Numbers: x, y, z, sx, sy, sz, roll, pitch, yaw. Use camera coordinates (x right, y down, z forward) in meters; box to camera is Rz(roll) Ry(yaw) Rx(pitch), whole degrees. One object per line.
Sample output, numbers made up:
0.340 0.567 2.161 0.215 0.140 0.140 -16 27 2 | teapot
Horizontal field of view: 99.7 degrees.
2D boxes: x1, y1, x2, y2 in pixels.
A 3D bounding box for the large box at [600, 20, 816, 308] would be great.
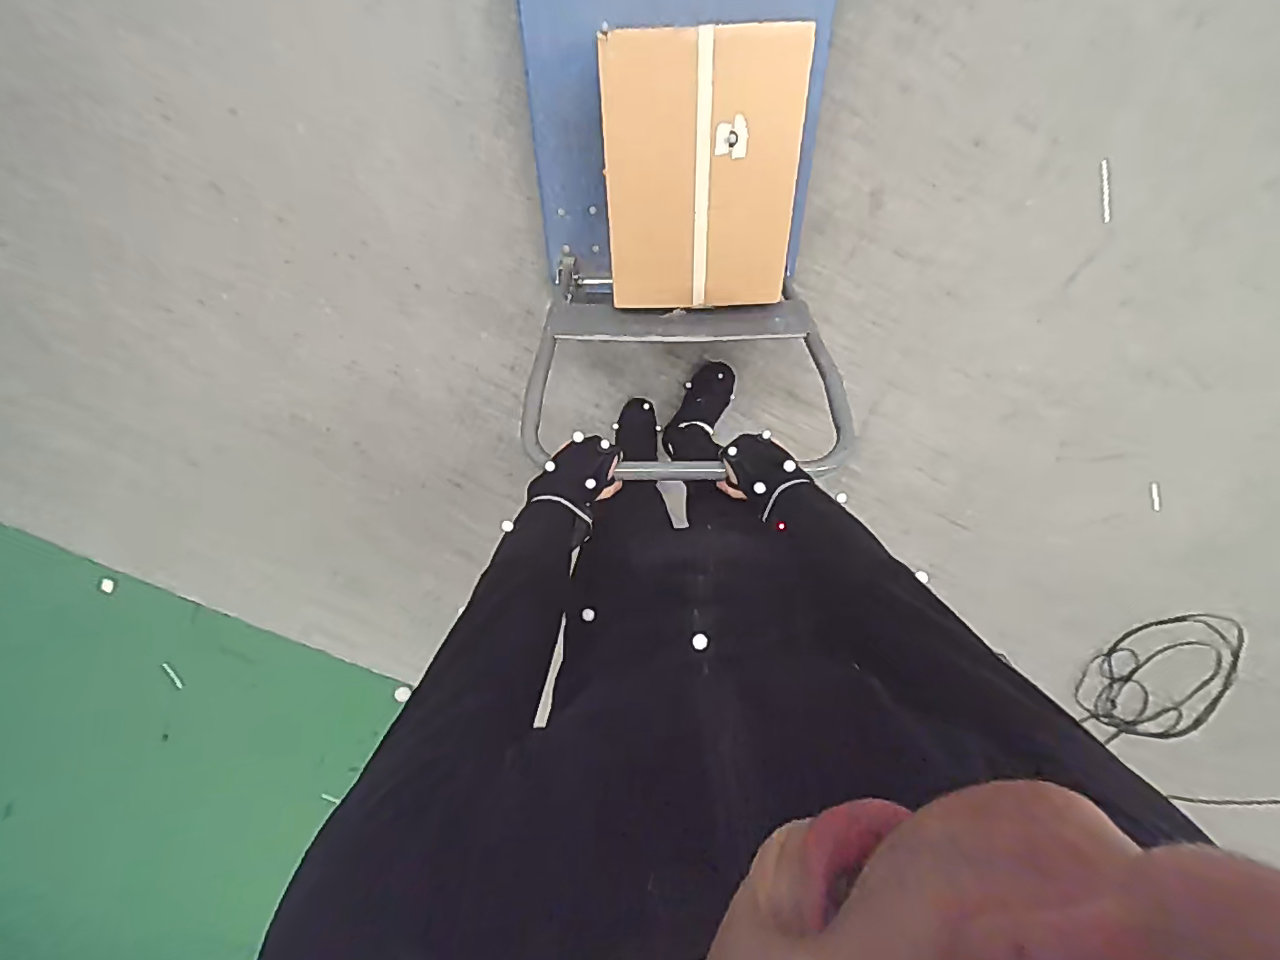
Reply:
0.110 -0.571 1.000 0.320 0.320 0.408 -1 127 2 | large box
